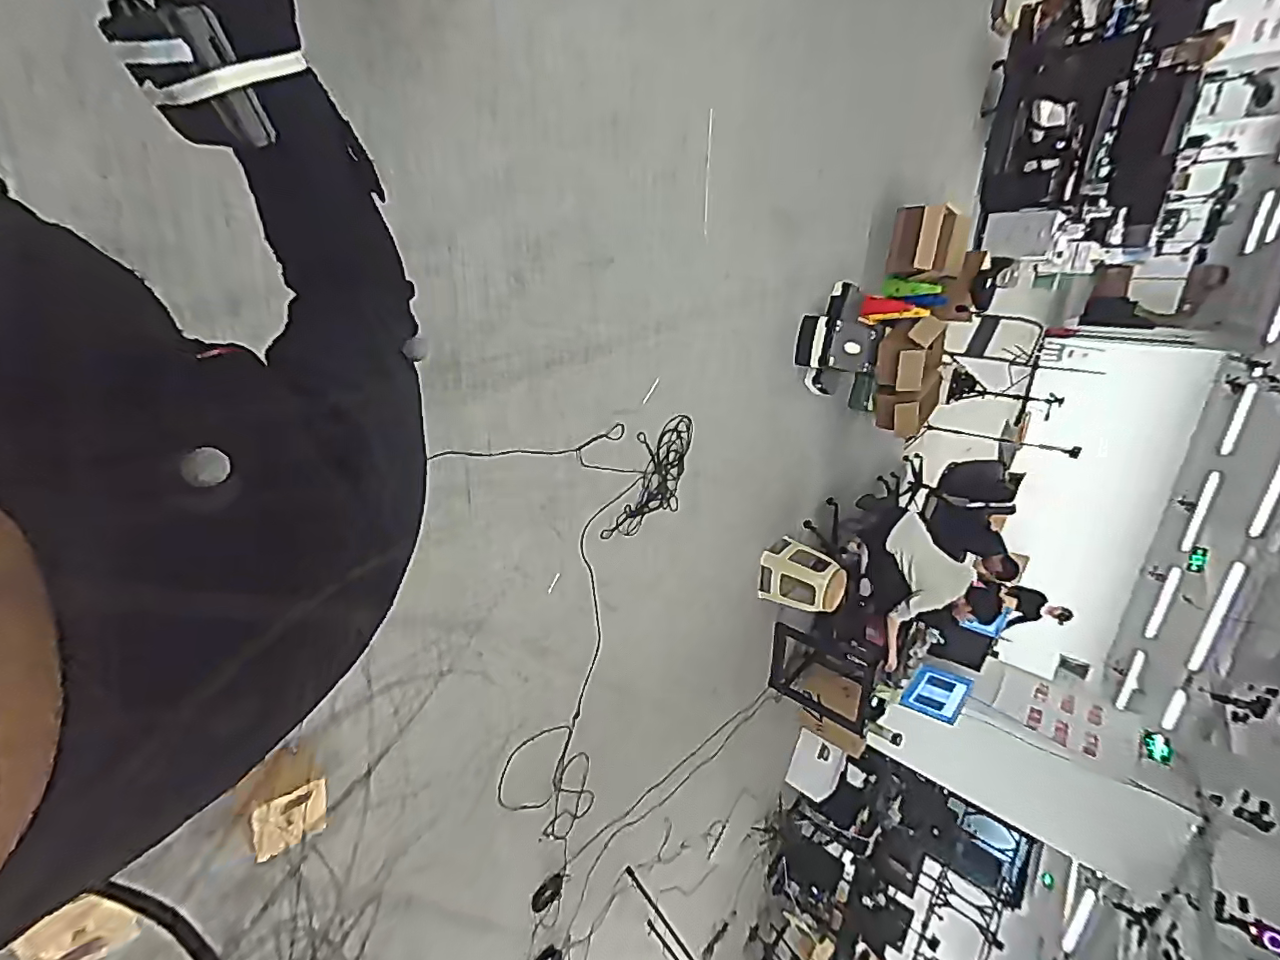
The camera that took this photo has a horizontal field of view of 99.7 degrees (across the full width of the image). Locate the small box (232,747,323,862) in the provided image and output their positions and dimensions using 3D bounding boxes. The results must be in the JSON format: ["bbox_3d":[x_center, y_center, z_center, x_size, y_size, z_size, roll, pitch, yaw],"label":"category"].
[{"bbox_3d":[-0.971,0.852,1.447,0.168,0.176,0.179,-9,112,-47],"label":"small box"}]
